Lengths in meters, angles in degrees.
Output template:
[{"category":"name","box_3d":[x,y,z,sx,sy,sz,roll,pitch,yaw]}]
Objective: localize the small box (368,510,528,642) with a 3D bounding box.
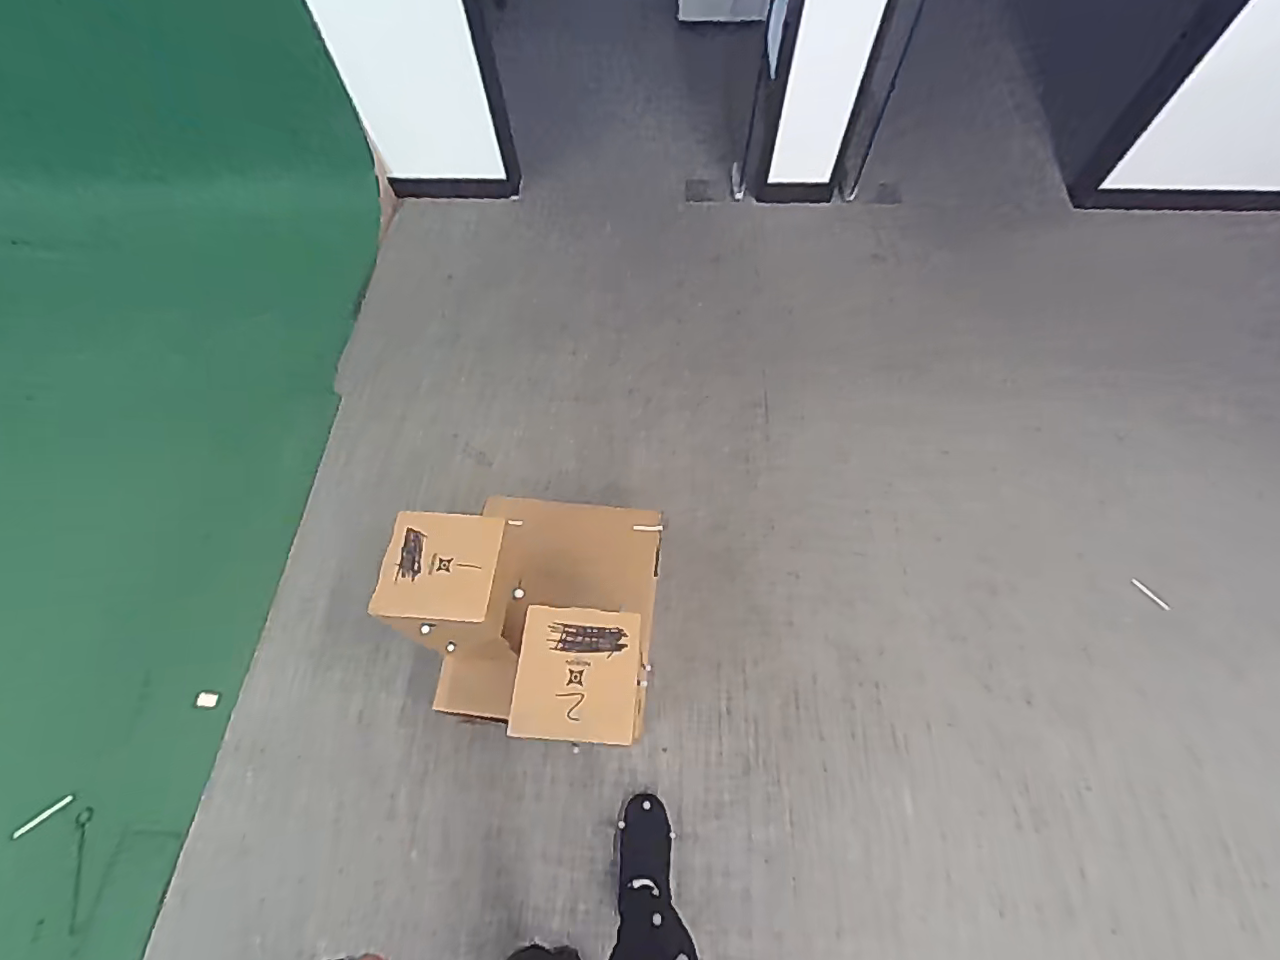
[{"category":"small box","box_3d":[-0.296,0.160,0.875,0.179,0.176,0.168,3,63,4]}]

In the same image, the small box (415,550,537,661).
[{"category":"small box","box_3d":[-0.299,0.232,1.026,0.168,0.176,0.179,4,62,3]}]

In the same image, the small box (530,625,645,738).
[{"category":"small box","box_3d":[-0.083,0.360,0.958,0.179,0.176,0.168,3,63,2]}]
